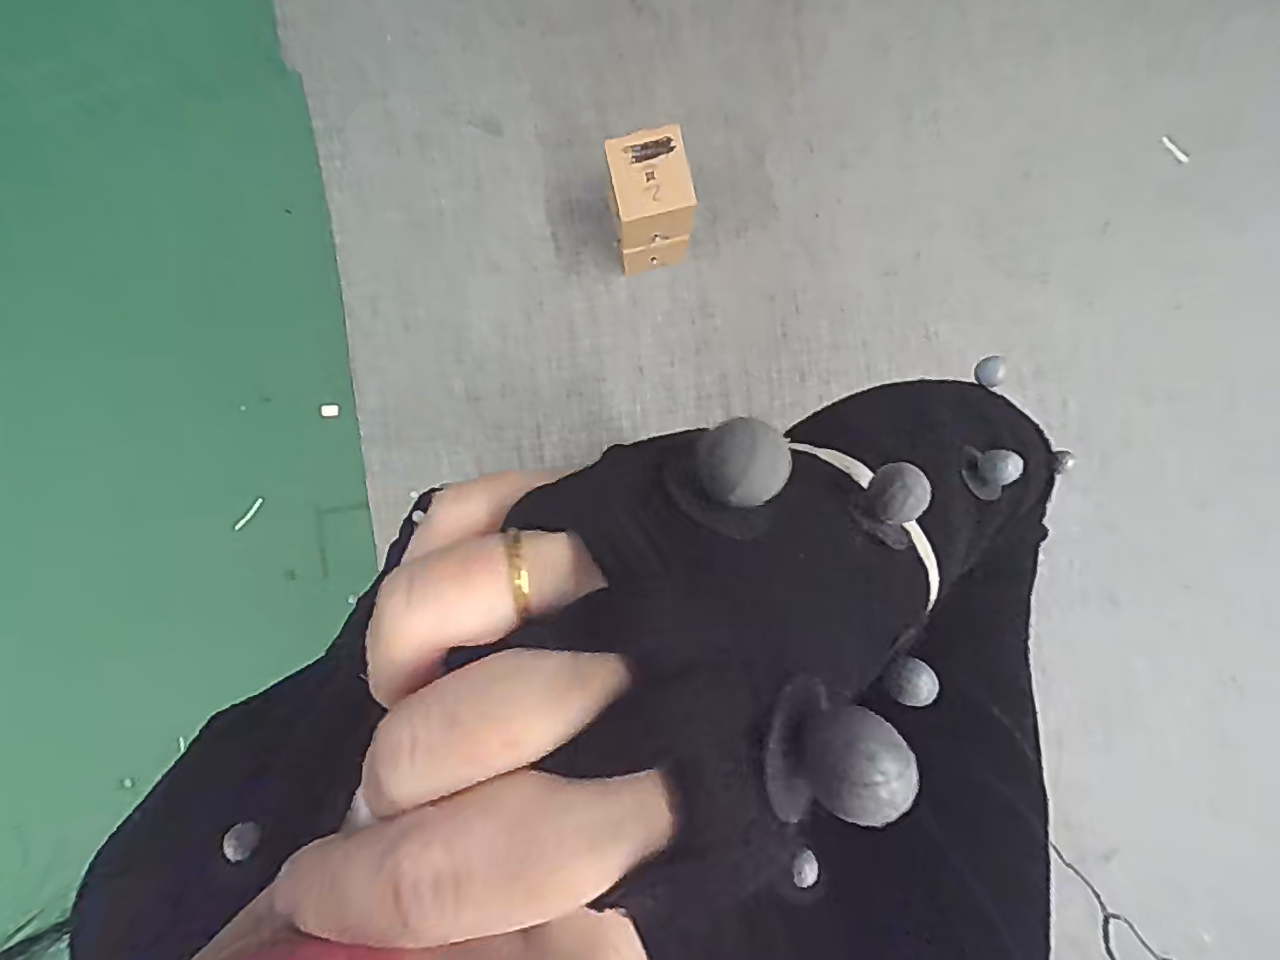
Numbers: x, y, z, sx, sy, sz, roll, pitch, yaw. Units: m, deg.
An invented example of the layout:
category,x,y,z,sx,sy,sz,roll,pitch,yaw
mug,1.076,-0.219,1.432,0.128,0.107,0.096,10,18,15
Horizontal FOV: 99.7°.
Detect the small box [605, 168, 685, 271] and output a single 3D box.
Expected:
category,x,y,z,sx,sy,sz,roll,pitch,yaw
small box,0.015,-0.655,1.385,0.168,0.176,0.179,-14,93,1
